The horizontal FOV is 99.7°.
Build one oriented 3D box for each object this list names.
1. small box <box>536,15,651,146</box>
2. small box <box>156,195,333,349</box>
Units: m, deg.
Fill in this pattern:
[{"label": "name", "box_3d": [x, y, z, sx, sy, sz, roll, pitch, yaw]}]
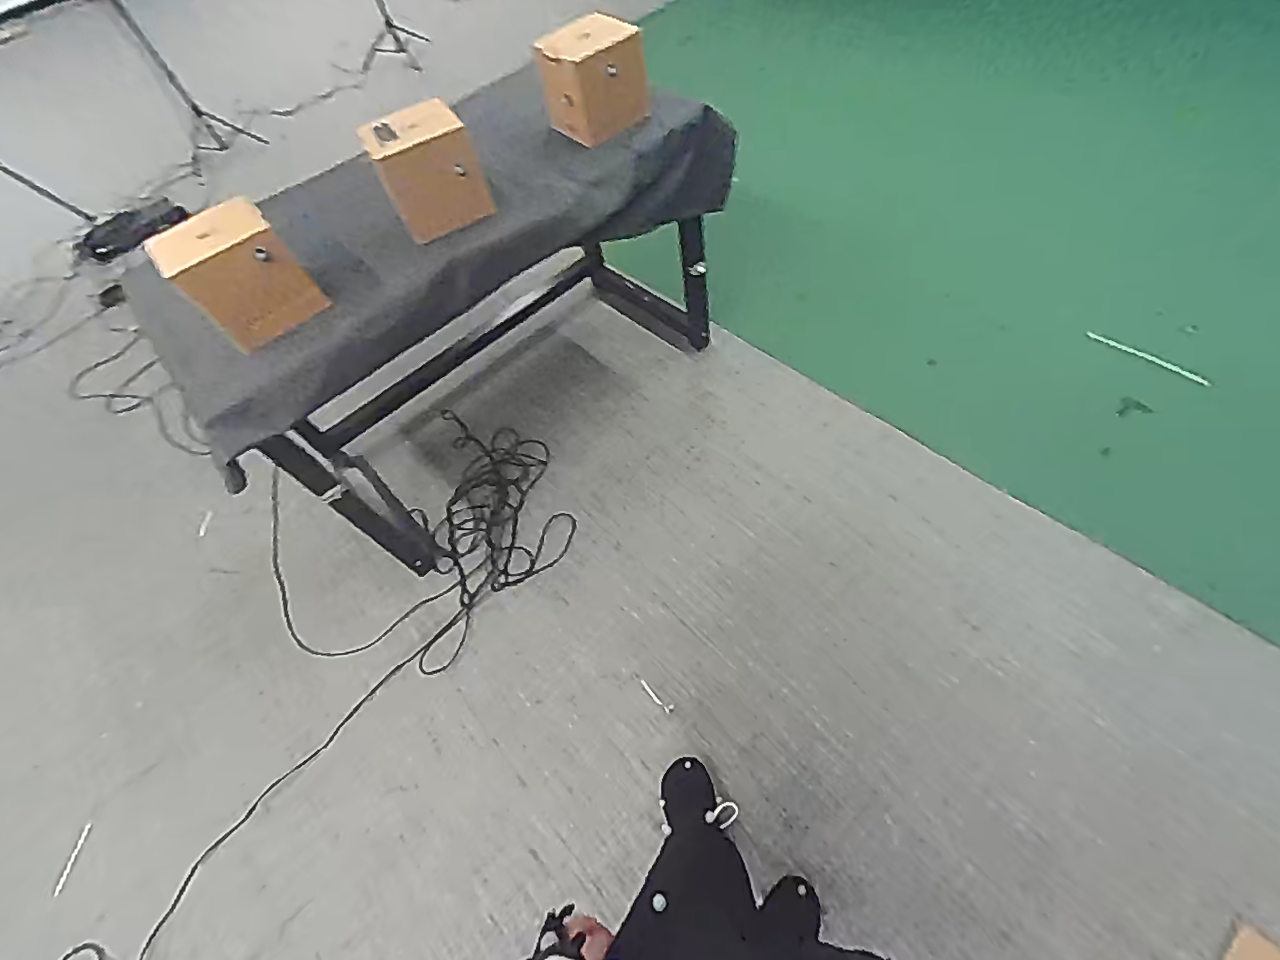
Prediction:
[{"label": "small box", "box_3d": [-0.094, -0.871, 1.187, 0.179, 0.176, 0.168, -36, 60, -13]}, {"label": "small box", "box_3d": [-0.702, -0.369, 0.973, 0.179, 0.176, 0.168, -39, 59, -16]}]
